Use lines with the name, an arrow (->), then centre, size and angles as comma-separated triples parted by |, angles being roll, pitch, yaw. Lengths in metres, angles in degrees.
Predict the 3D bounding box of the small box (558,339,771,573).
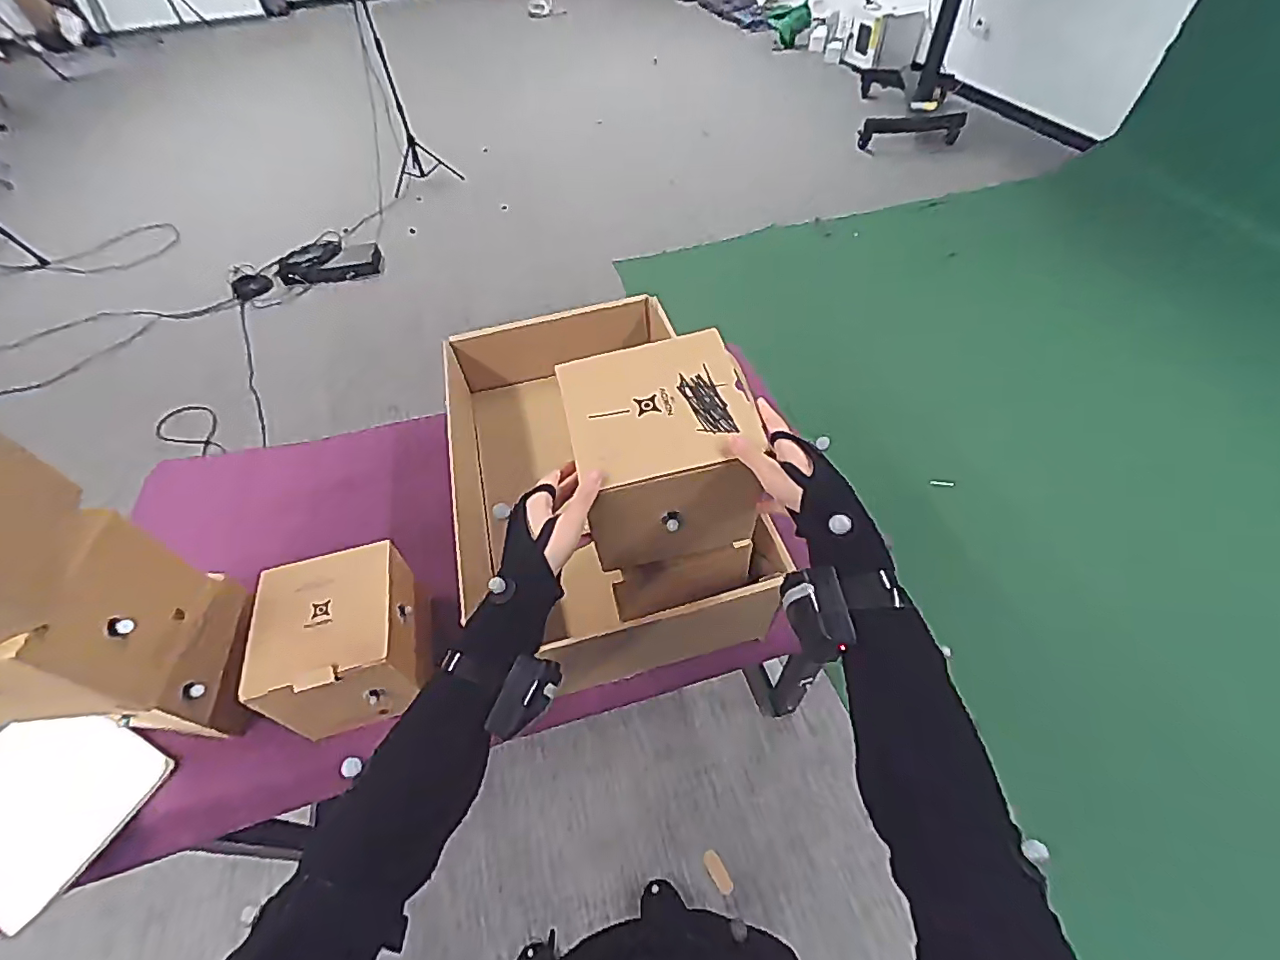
small box -> 0.020, -0.020, 0.583 | 0.179, 0.176, 0.168 | -13, 56, -4

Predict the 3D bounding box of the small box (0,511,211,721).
small box -> -0.628, 0.151, 0.586 | 0.179, 0.176, 0.168 | -4, 51, 1
